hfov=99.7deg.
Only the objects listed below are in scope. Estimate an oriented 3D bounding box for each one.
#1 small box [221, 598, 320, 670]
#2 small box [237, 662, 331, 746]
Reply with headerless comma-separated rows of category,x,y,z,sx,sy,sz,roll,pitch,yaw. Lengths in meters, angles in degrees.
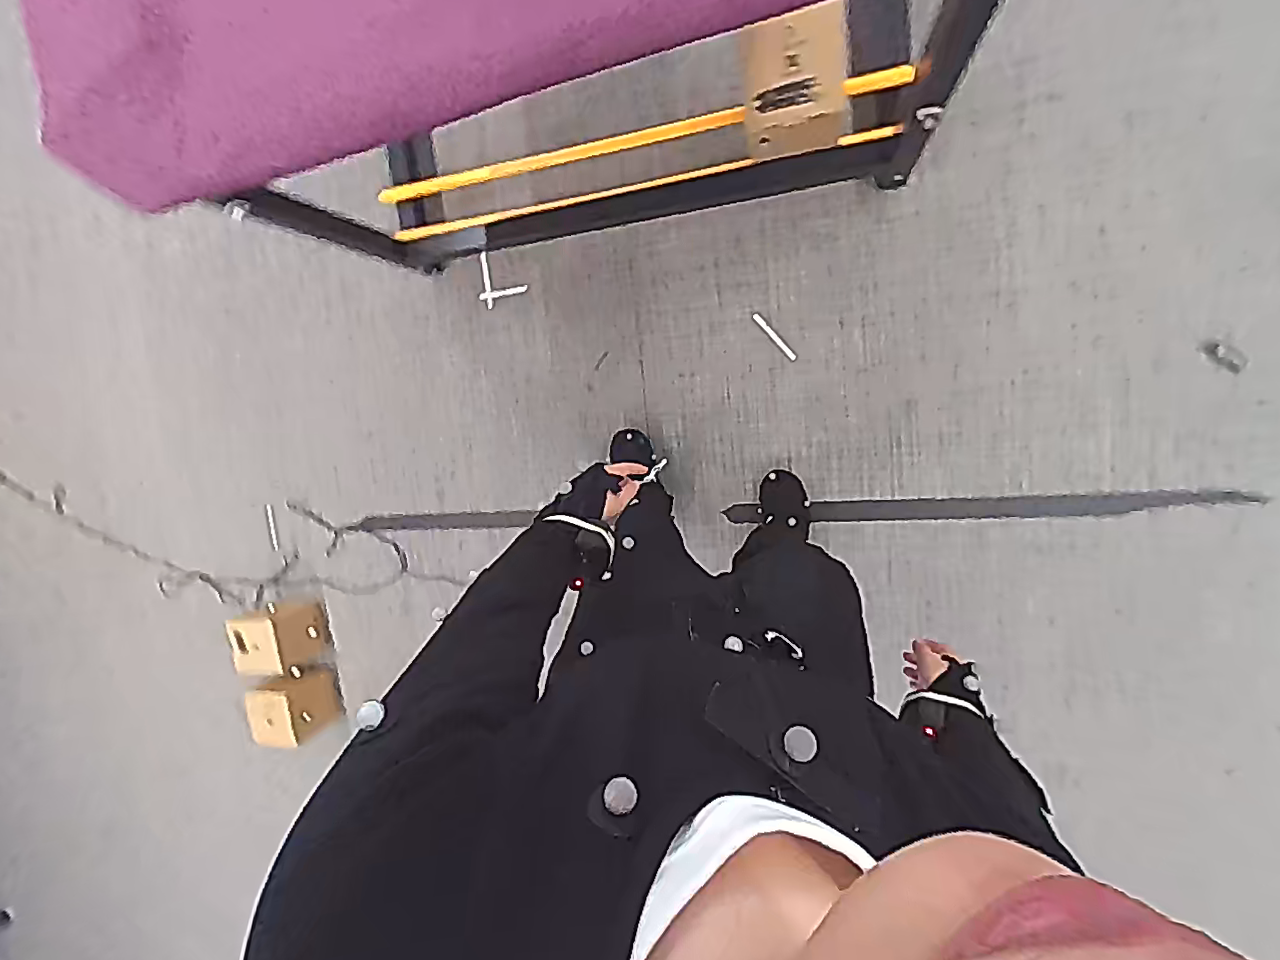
small box,-1.133,0.469,1.666,0.179,0.176,0.168,-5,98,14
small box,-1.106,0.697,1.695,0.168,0.176,0.179,-3,99,14
